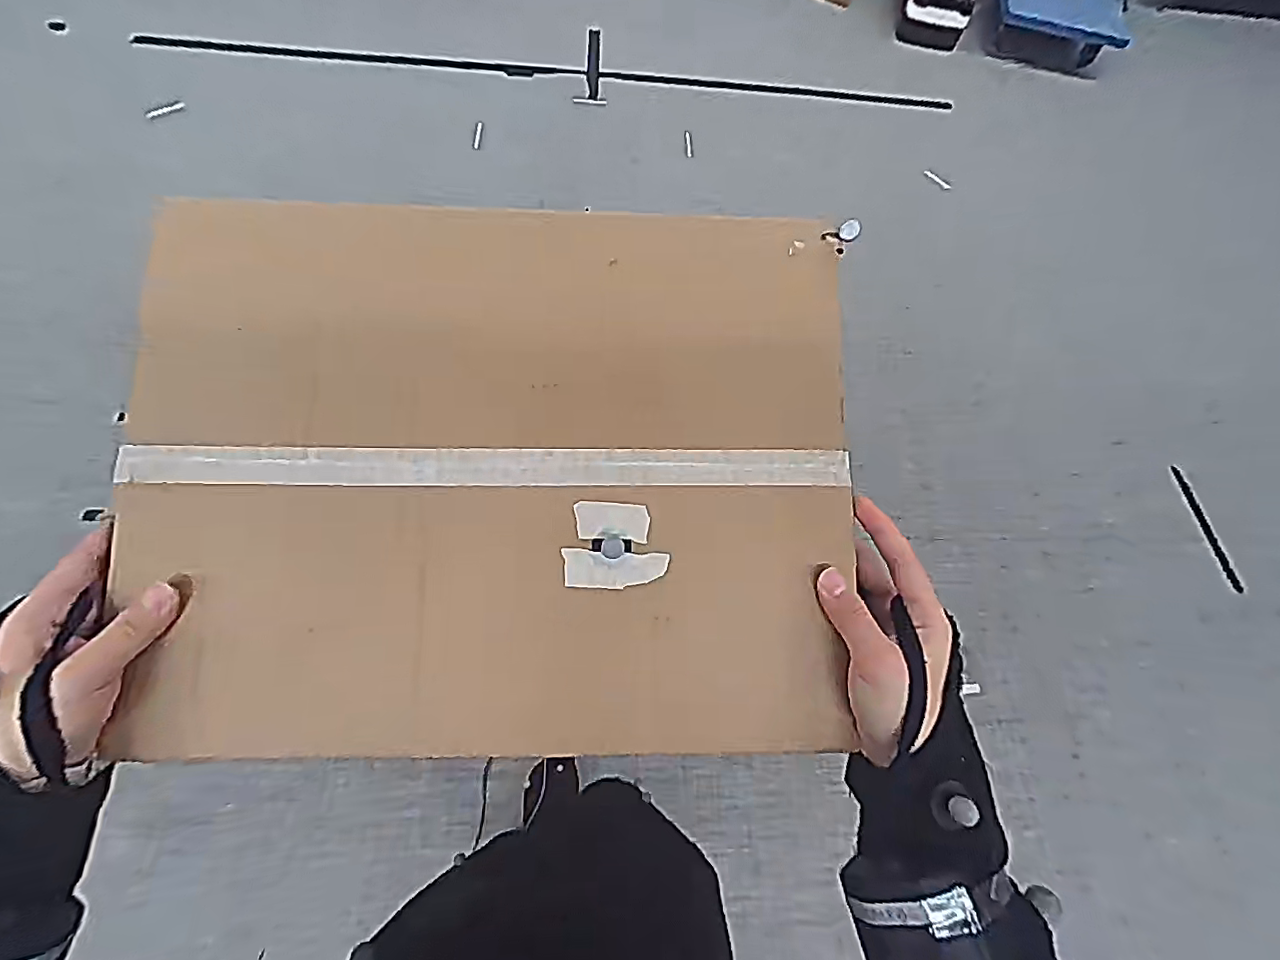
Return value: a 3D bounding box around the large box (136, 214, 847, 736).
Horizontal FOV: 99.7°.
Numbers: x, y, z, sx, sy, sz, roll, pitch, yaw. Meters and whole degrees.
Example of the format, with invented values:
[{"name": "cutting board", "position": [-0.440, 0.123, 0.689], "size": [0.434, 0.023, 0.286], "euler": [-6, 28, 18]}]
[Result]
[{"name": "large box", "position": [-0.087, 0.007, 0.471], "size": [0.408, 0.320, 0.320], "euler": [1, 83, -3]}]
